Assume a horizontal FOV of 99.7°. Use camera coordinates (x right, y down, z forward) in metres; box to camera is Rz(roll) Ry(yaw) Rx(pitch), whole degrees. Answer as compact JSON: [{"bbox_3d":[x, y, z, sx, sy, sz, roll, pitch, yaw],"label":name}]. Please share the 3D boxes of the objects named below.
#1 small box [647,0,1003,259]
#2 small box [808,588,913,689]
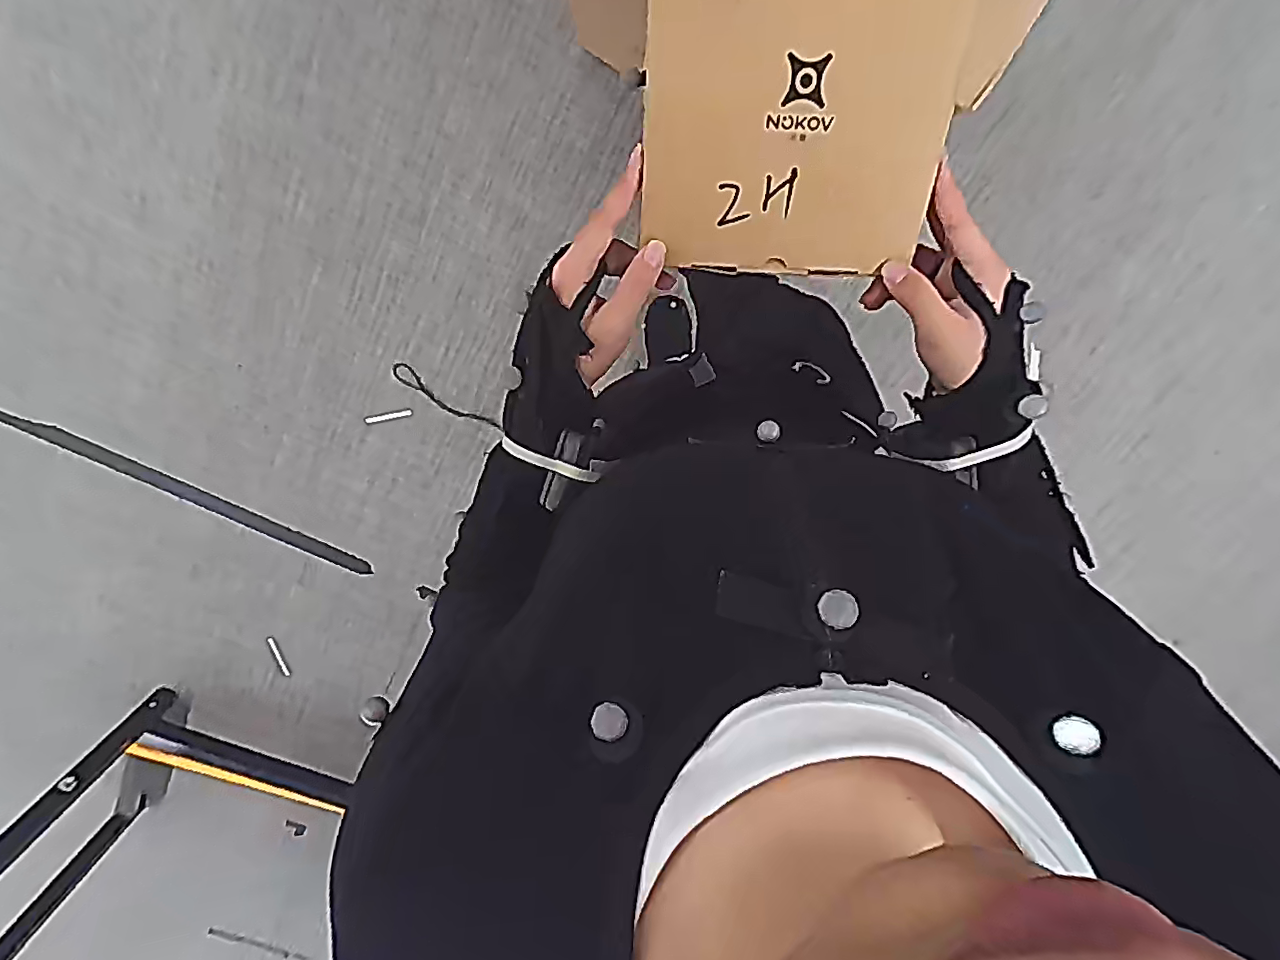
[{"bbox_3d":[0.092,-0.249,0.346,0.168,0.176,0.179,3,119,-1],"label":"small box"},{"bbox_3d":[0.600,0.430,1.493,0.179,0.176,0.168,34,106,-12],"label":"small box"}]
